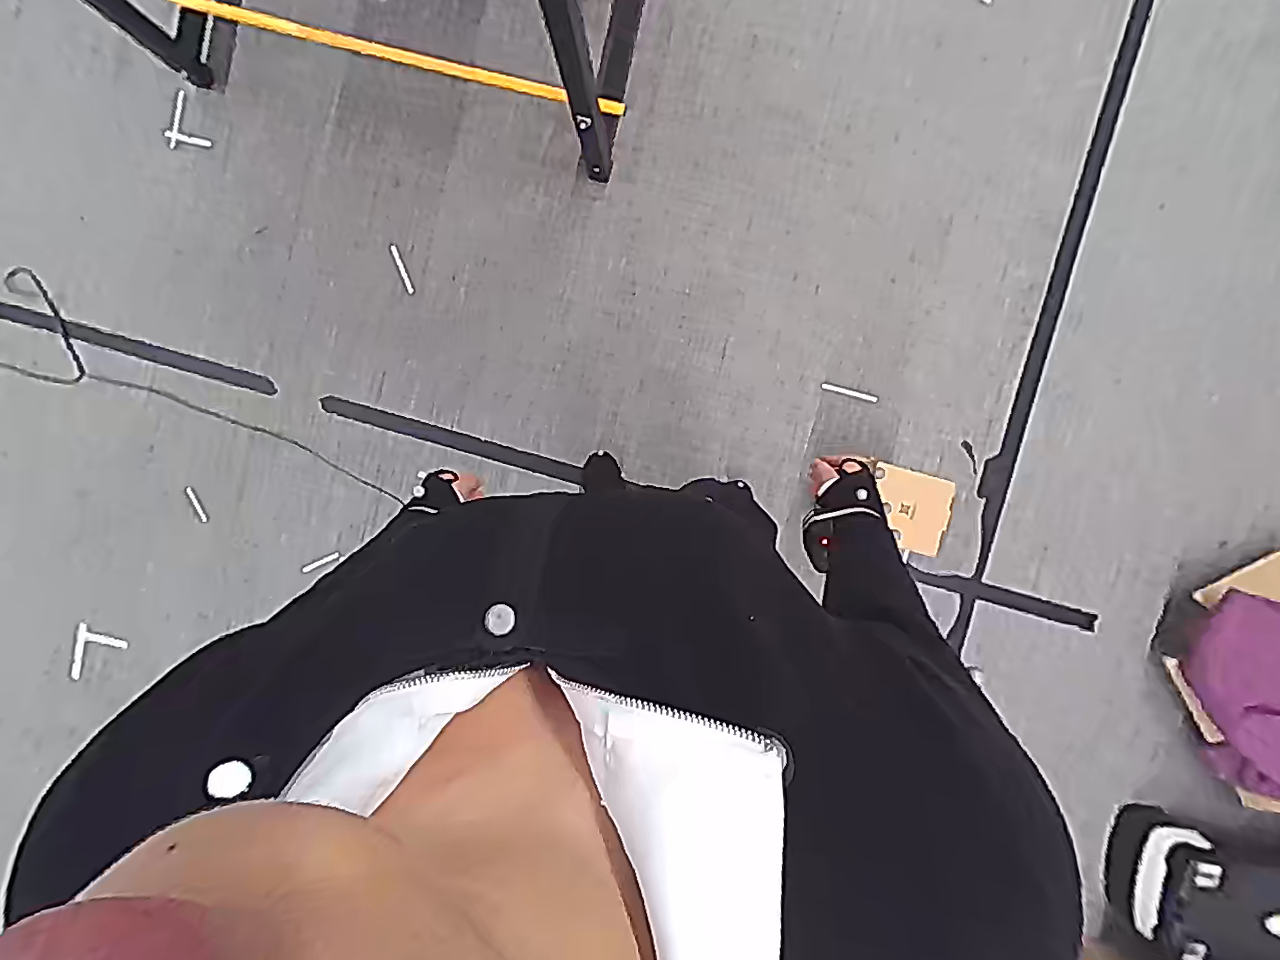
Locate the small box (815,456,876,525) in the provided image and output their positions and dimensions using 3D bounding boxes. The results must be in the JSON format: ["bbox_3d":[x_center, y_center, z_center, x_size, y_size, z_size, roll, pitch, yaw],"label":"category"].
[{"bbox_3d":[0.568,0.044,1.391,0.168,0.176,0.179,17,93,2],"label":"small box"}]

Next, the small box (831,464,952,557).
[{"bbox_3d":[0.562,0.061,1.229,0.179,0.176,0.168,15,92,3],"label":"small box"}]
